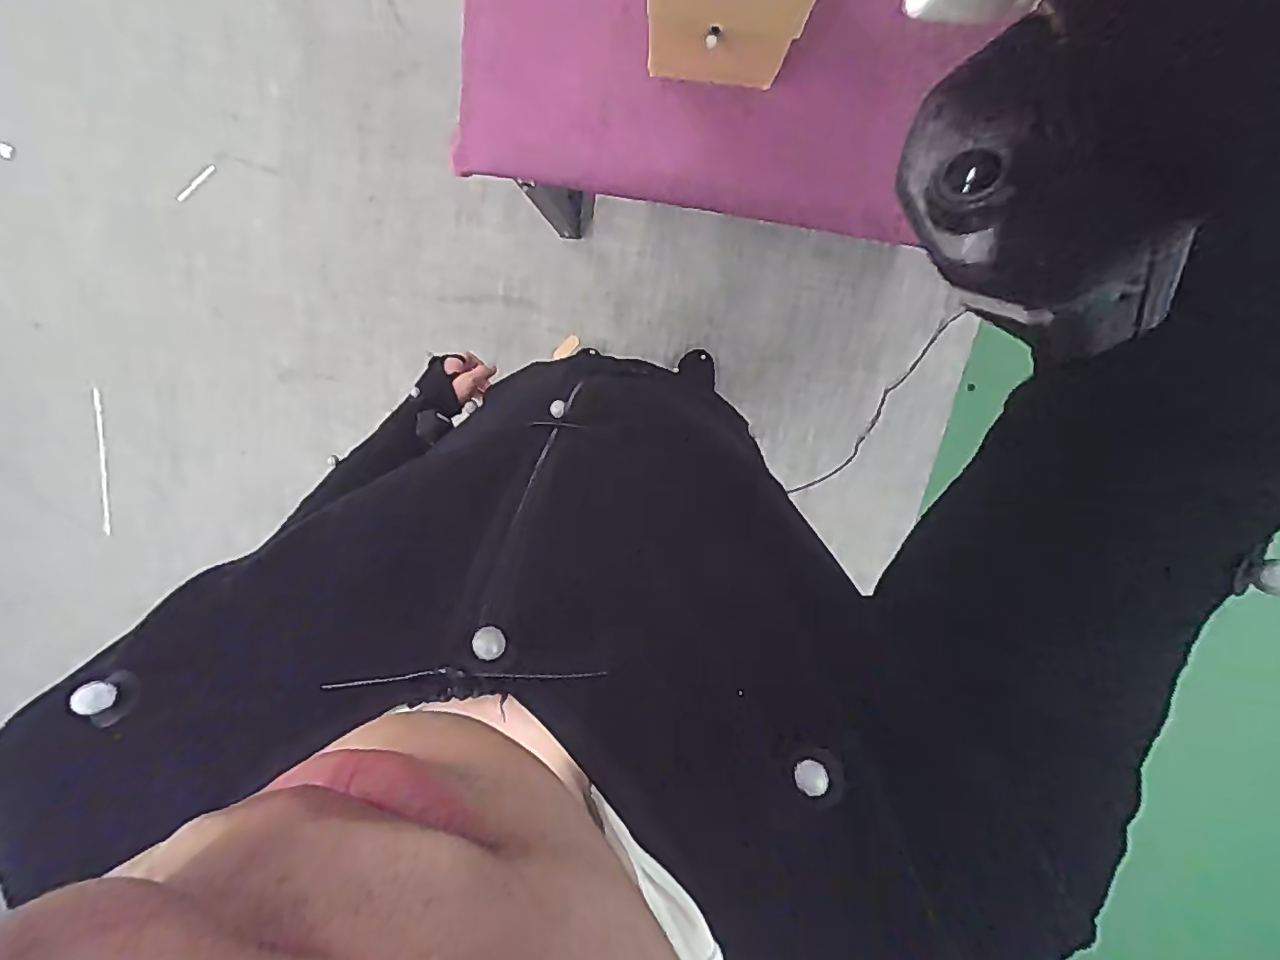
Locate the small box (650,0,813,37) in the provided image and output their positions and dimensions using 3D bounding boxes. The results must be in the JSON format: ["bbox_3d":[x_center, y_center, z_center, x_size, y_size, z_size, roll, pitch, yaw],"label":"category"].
[{"bbox_3d":[0.106,-0.569,0.517,0.179,0.176,0.168,9,103,0],"label":"small box"}]

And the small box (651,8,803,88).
[{"bbox_3d":[0.111,-0.623,0.674,0.179,0.176,0.168,8,104,1],"label":"small box"}]
